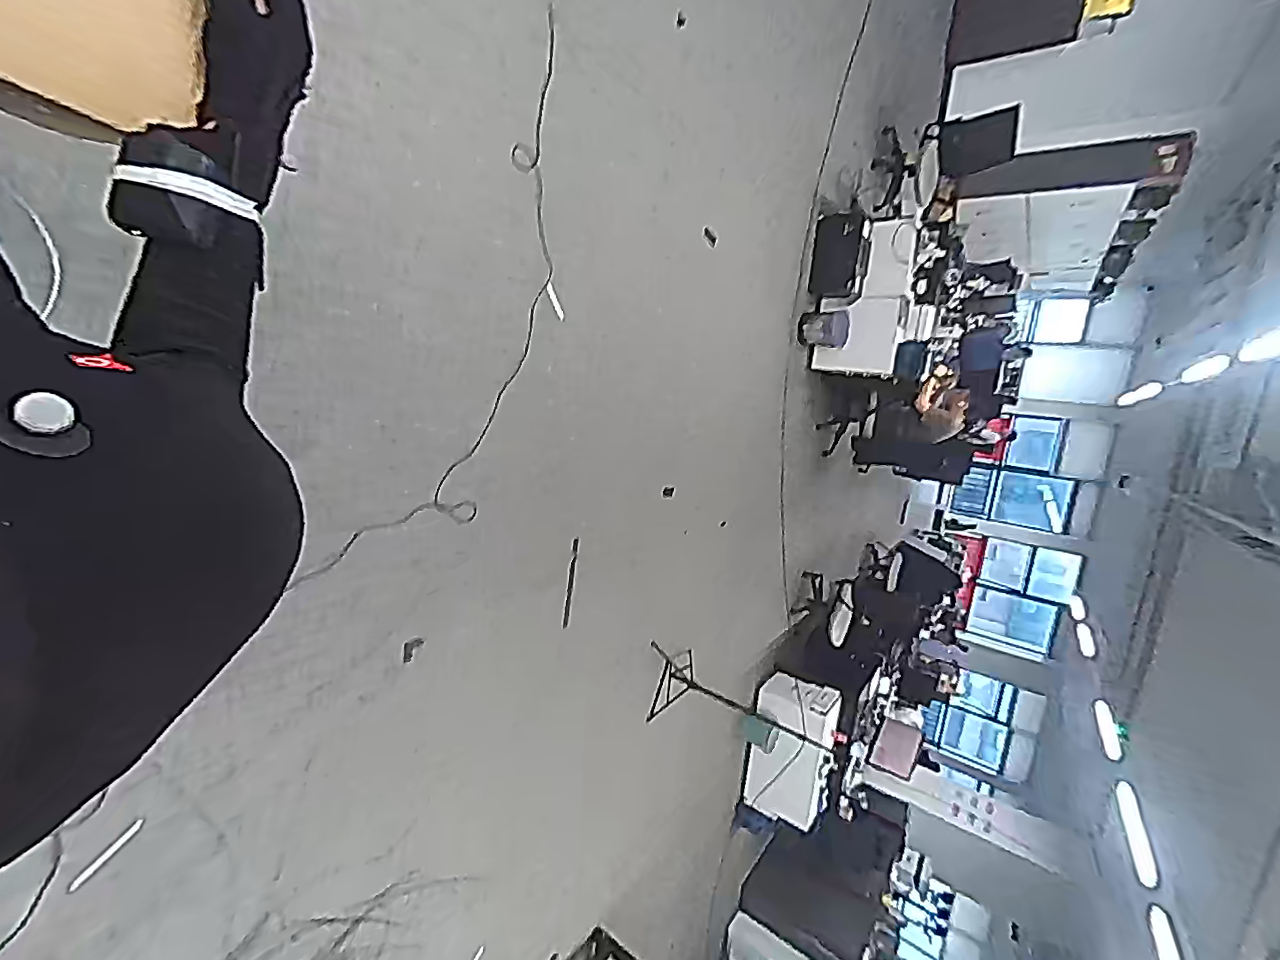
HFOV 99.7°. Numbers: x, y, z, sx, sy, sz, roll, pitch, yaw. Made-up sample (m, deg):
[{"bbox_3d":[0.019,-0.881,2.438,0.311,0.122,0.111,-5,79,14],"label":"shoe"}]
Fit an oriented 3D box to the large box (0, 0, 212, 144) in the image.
[{"bbox_3d":[-0.508,-0.443,0.277,0.408,0.320,0.320,3,110,-59],"label":"large box"}]
